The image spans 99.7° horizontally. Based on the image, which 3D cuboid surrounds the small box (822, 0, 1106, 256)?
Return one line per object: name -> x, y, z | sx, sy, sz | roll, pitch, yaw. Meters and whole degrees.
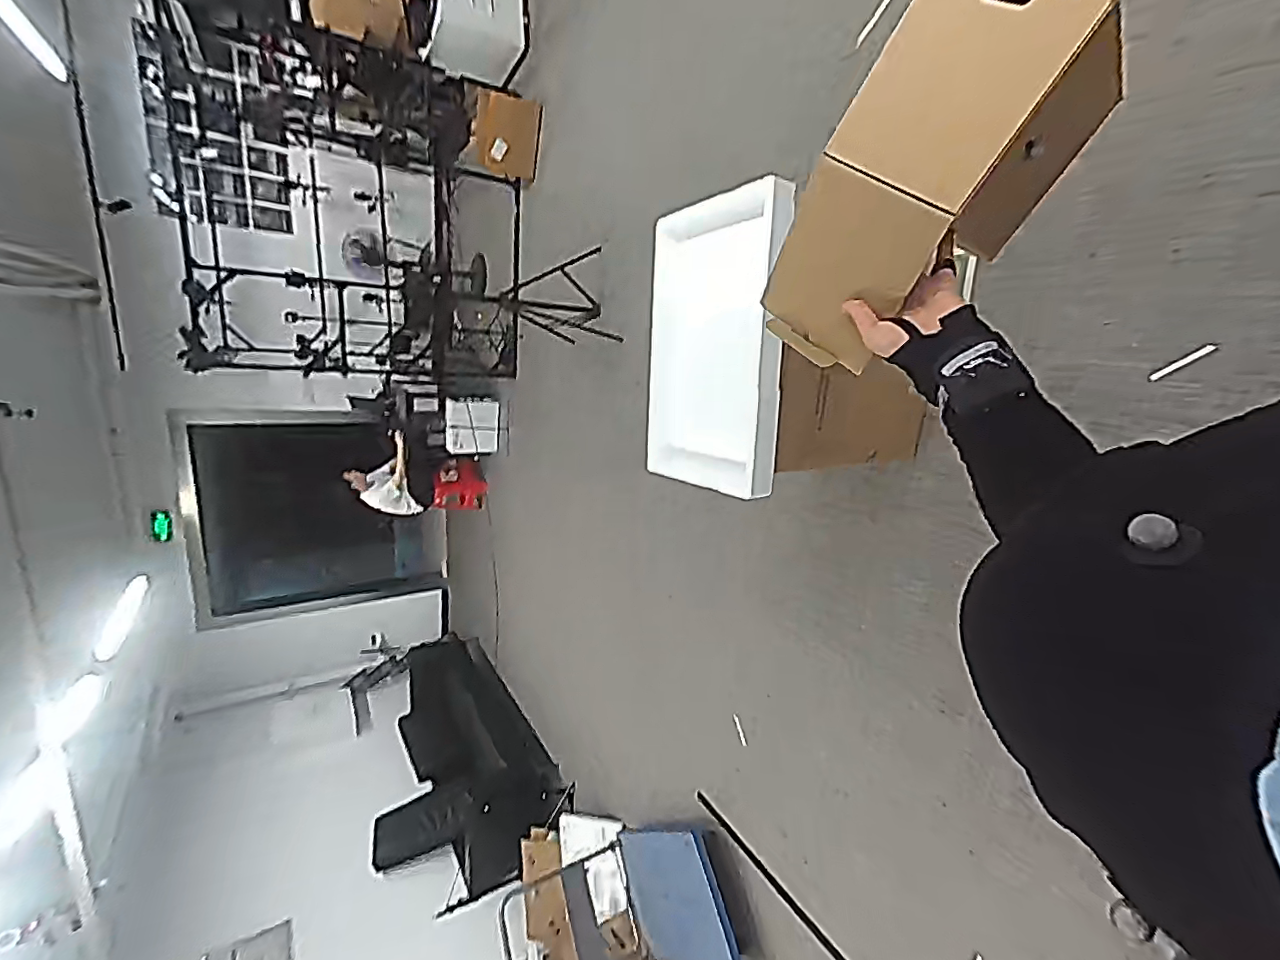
small box -> 0.331, -0.359, 0.554 | 0.168, 0.176, 0.179 | 48, 123, 30
